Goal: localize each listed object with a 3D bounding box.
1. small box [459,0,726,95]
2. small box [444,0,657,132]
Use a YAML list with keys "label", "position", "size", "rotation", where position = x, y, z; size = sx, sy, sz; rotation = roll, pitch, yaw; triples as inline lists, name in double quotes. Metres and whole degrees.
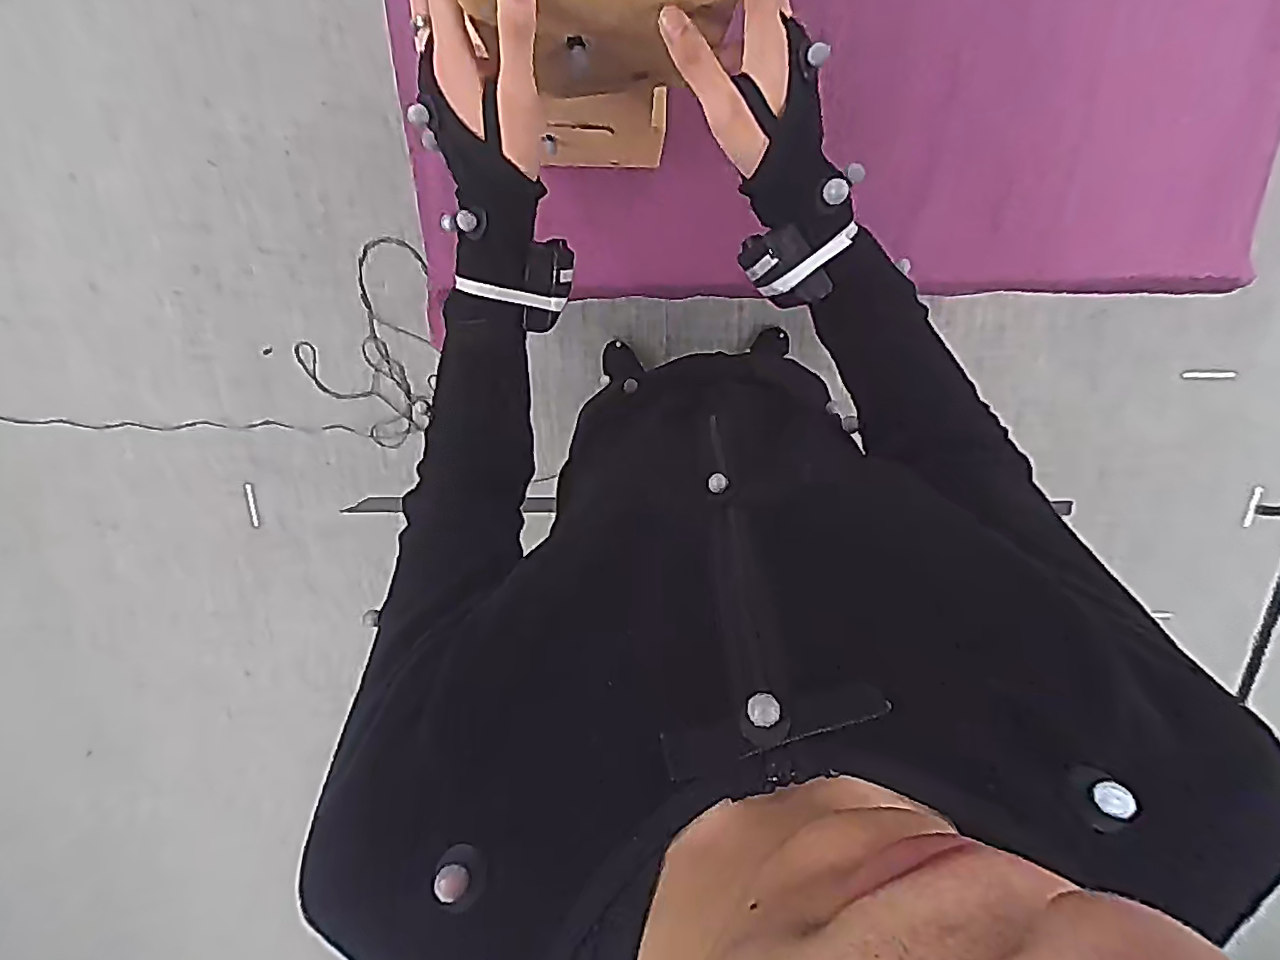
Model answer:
- label: "small box"
  position: [-0.031, -0.379, 0.349]
  size: [0.168, 0.176, 0.179]
  rotation: [-7, 106, 1]
- label: "small box"
  position: [-0.065, -0.446, 0.498]
  size: [0.179, 0.176, 0.168]
  rotation: [6, 107, -3]
